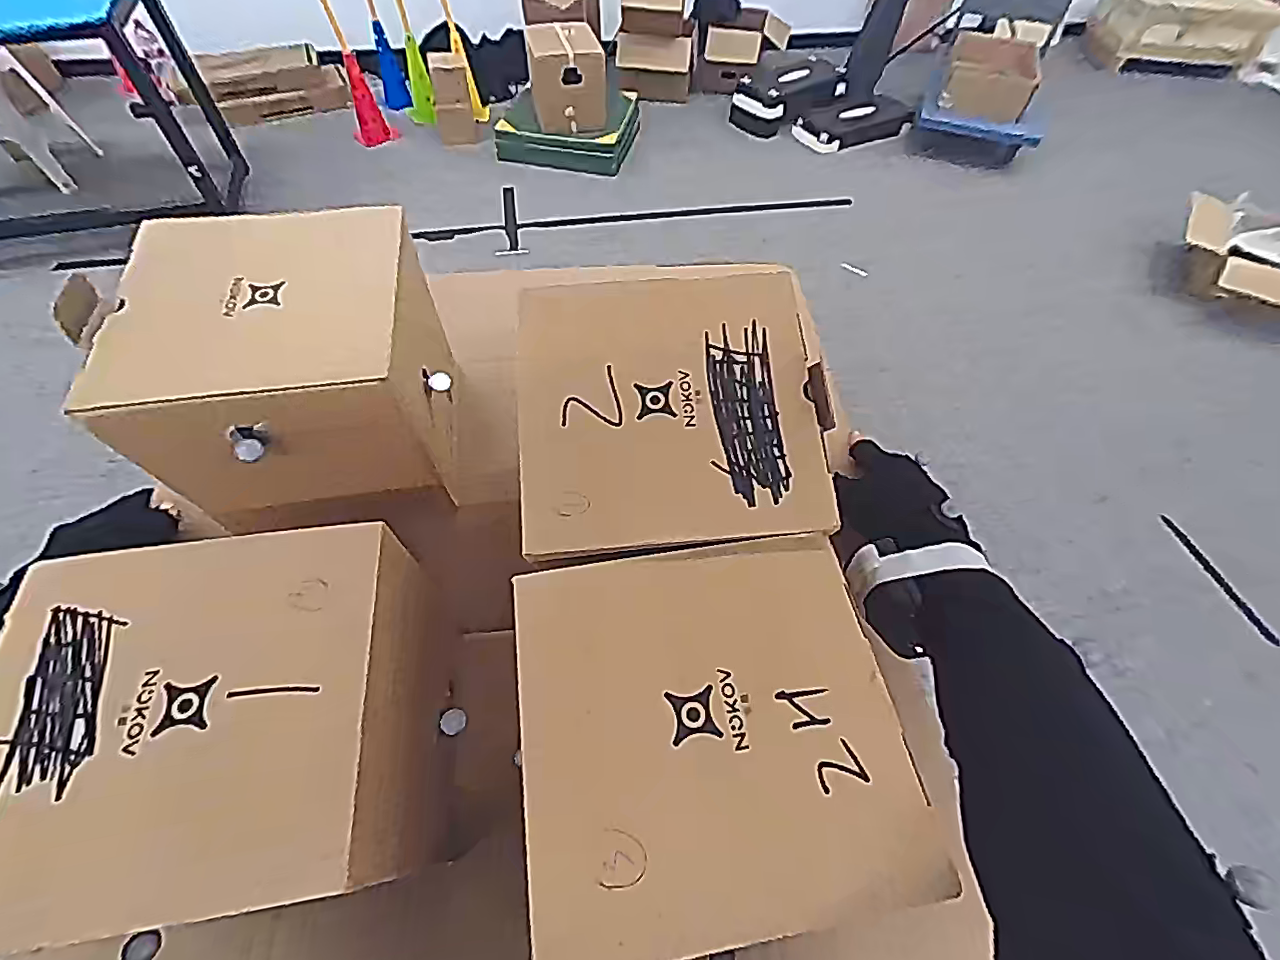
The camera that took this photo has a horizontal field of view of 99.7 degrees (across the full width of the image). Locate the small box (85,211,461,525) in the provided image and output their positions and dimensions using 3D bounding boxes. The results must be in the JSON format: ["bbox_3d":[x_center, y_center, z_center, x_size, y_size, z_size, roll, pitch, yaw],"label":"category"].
[{"bbox_3d":[-0.246,-0.079,0.424,0.179,0.176,0.168,-7,60,-6],"label":"small box"}]
